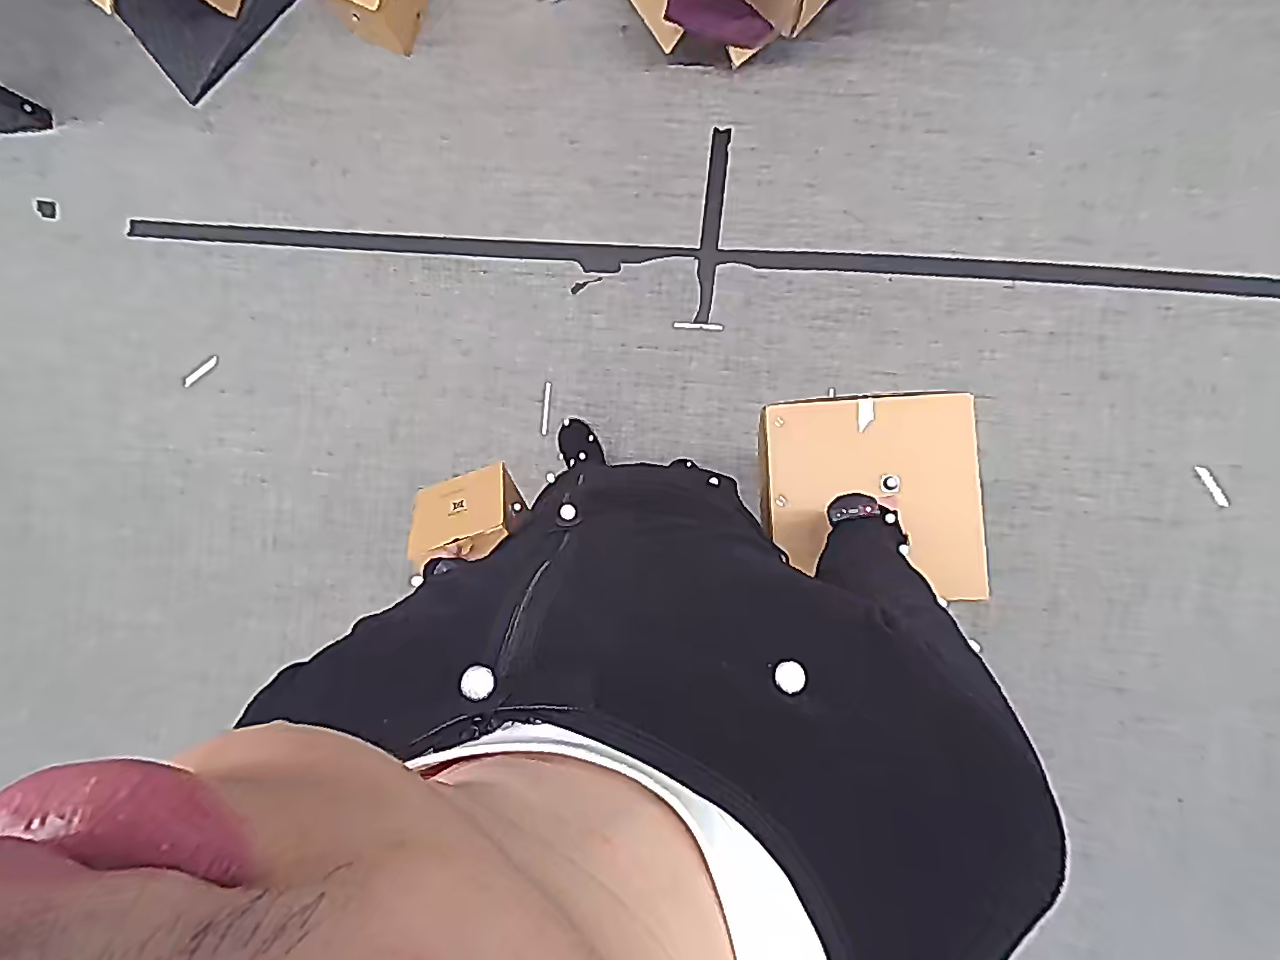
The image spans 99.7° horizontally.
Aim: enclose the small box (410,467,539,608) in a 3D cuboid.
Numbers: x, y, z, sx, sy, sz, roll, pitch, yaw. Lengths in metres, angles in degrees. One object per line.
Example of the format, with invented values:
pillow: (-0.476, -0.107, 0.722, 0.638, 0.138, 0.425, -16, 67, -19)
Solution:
small box: (-0.291, 0.111, 0.989, 0.168, 0.179, 0.176, -19, 129, 0)
